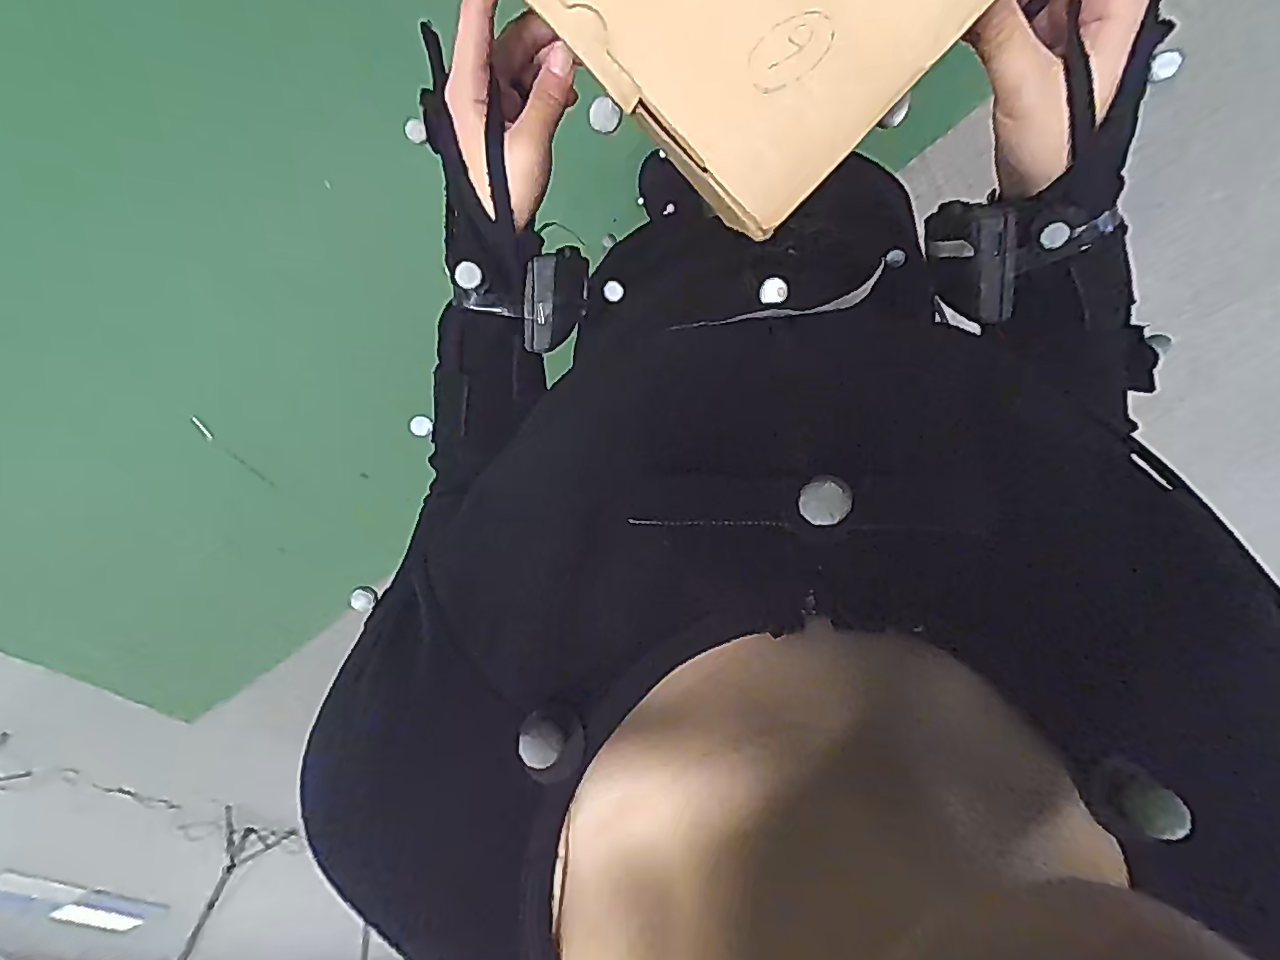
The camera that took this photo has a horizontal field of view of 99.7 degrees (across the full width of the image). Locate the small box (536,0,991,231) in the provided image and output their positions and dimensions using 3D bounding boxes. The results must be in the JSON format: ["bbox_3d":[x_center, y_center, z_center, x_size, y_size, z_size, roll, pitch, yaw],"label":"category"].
[{"bbox_3d":[0.052,-0.224,0.205,0.168,0.176,0.179,42,114,-14],"label":"small box"}]
